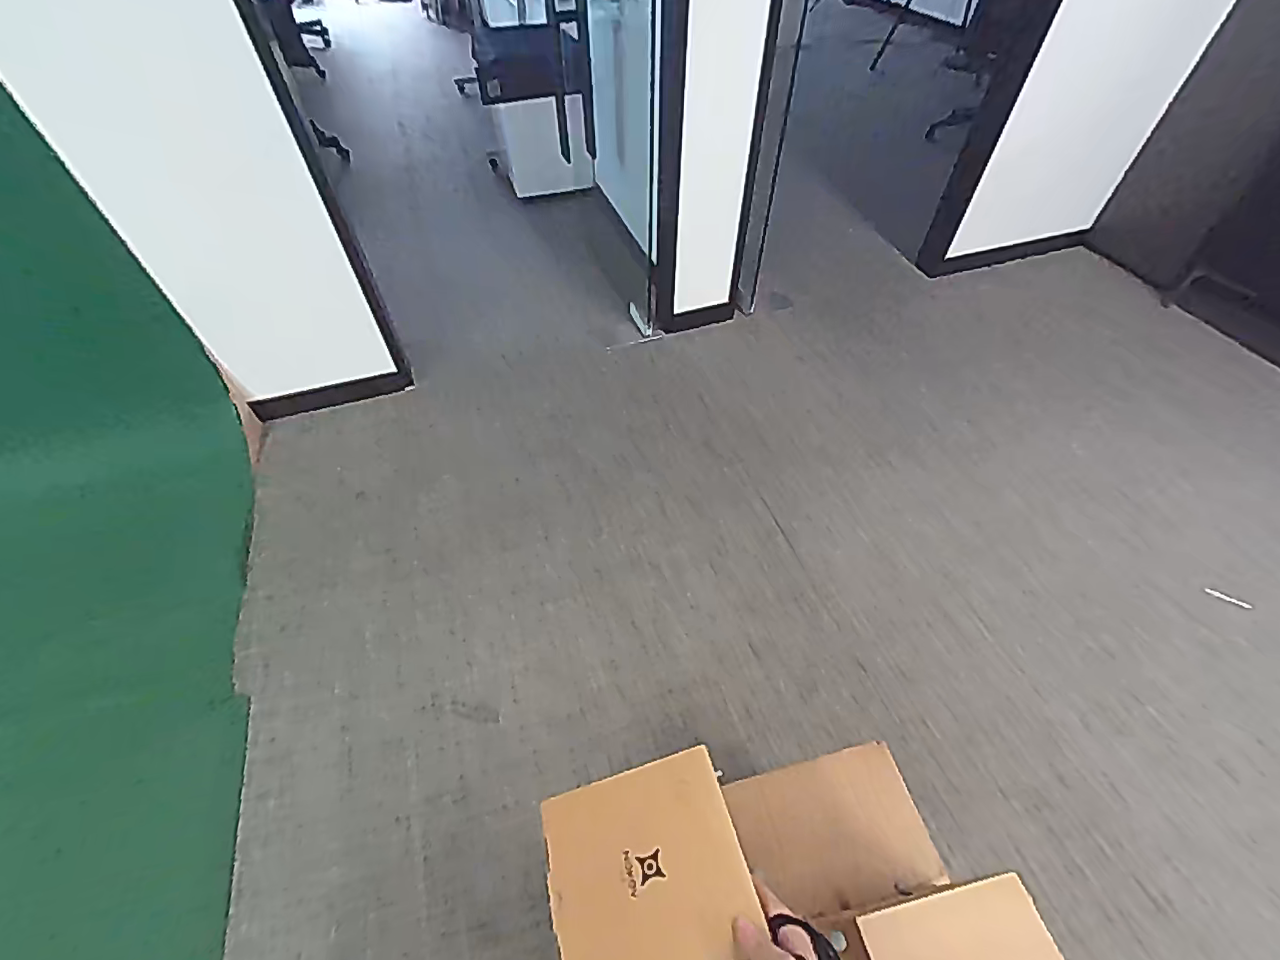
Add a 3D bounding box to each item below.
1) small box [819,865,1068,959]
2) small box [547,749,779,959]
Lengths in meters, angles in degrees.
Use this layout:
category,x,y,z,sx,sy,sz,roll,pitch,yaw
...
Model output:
category,x,y,z,sx,sy,sz,roll,pitch,yaw
small box,0.288,0.488,0.499,0.168,0.176,0.179,-9,50,-8
small box,0.023,0.403,0.539,0.179,0.176,0.168,-19,44,-3
